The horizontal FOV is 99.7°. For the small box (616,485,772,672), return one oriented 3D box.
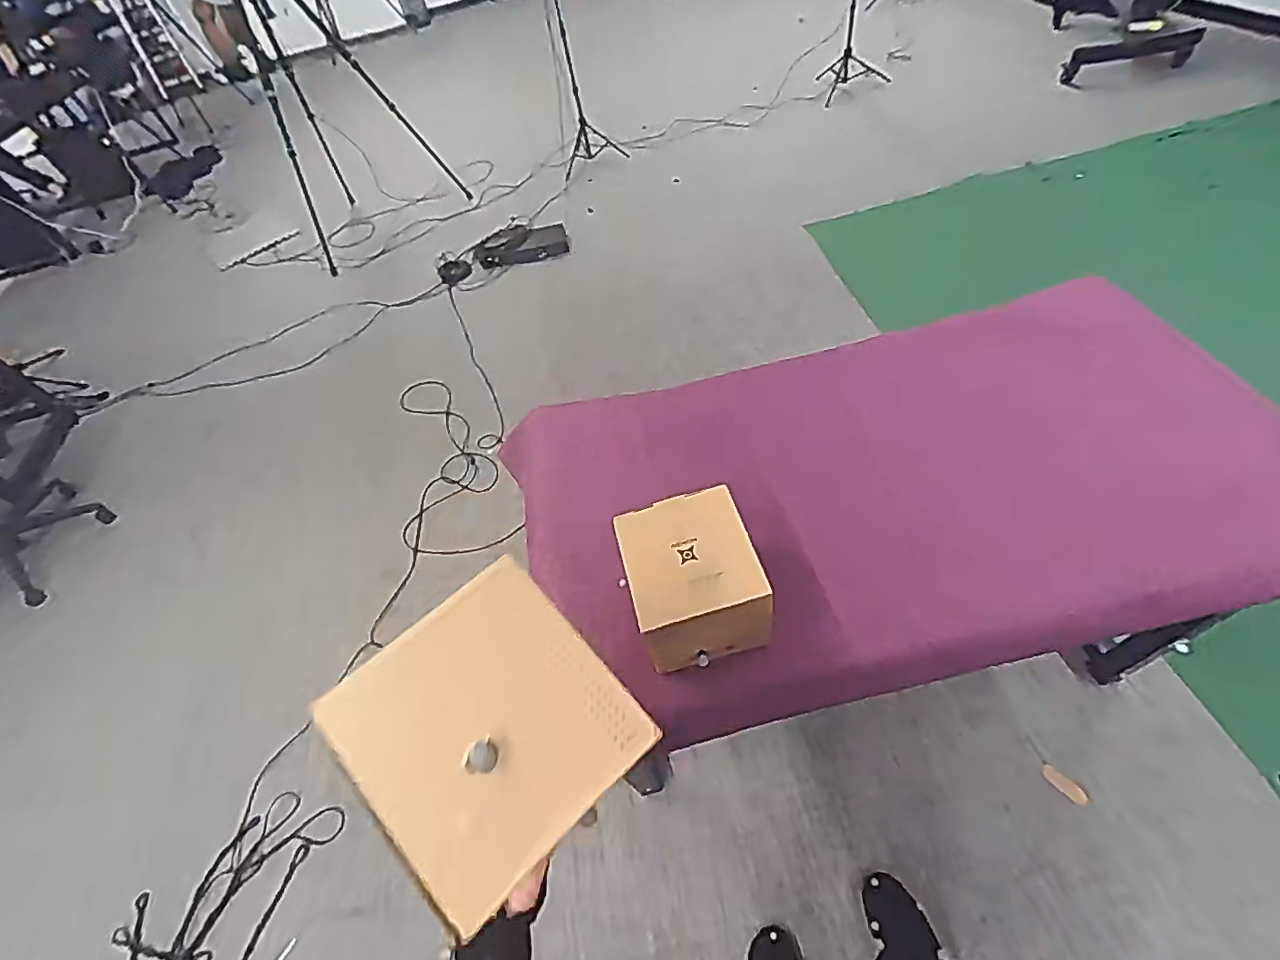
[{"bbox_3d":[0.073,0.139,0.753,0.168,0.176,0.179,-16,51,0],"label":"small box"}]

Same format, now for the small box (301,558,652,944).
[{"bbox_3d":[-0.112,0.194,0.431,0.176,0.168,0.179,-40,76,-22],"label":"small box"}]
